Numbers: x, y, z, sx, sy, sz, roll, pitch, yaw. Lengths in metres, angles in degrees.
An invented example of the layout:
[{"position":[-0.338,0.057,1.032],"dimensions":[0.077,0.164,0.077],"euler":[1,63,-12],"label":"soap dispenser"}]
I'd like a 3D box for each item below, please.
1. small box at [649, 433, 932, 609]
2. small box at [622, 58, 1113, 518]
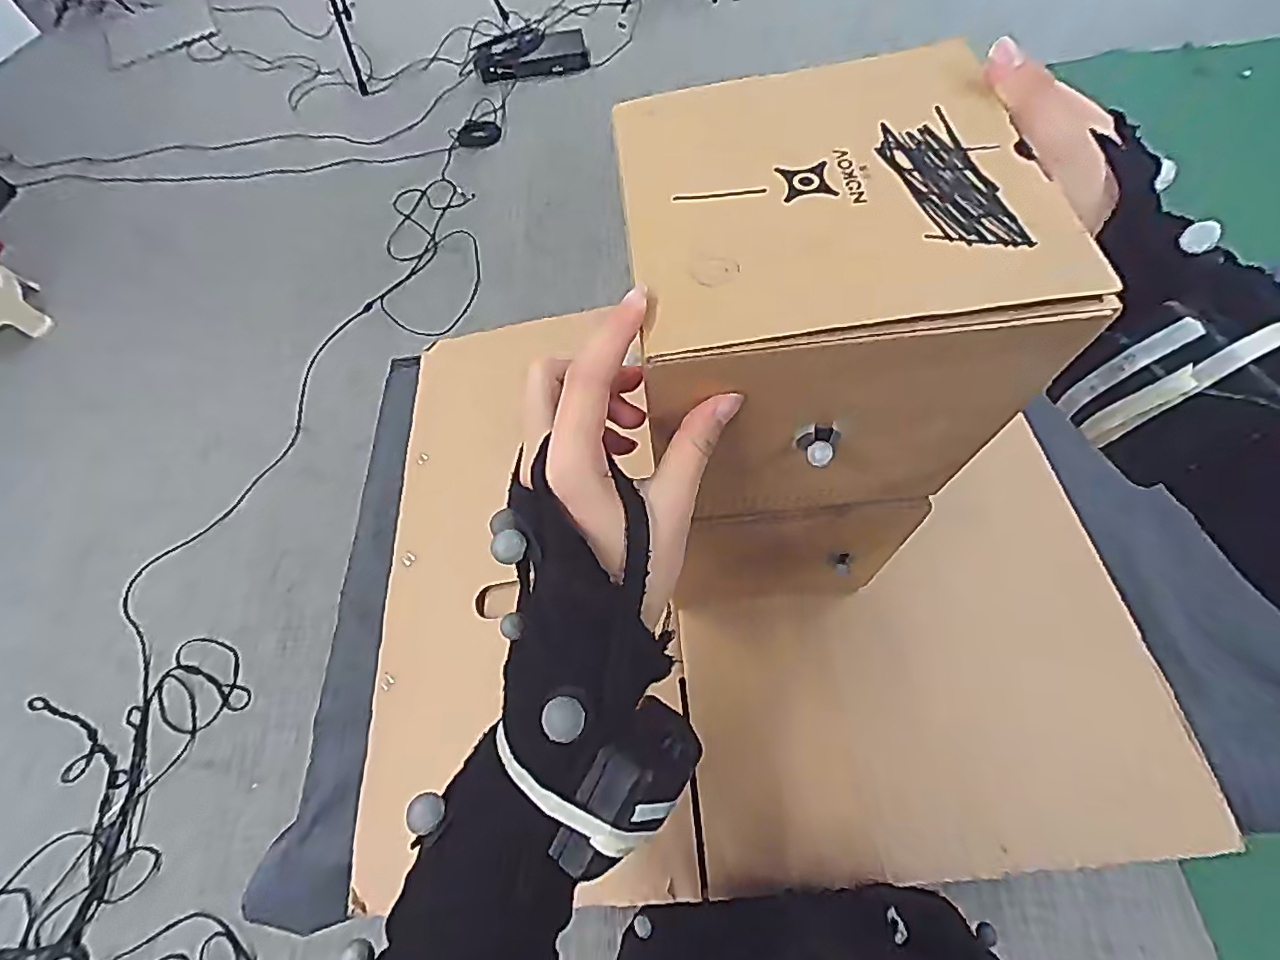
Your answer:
[{"position":[0.101,-0.001,0.452],"dimensions":[0.179,0.176,0.168],"euler":[-8,60,3],"label":"small box"},{"position":[0.088,-0.088,0.305],"dimensions":[0.179,0.176,0.168],"euler":[-6,64,3],"label":"small box"}]
